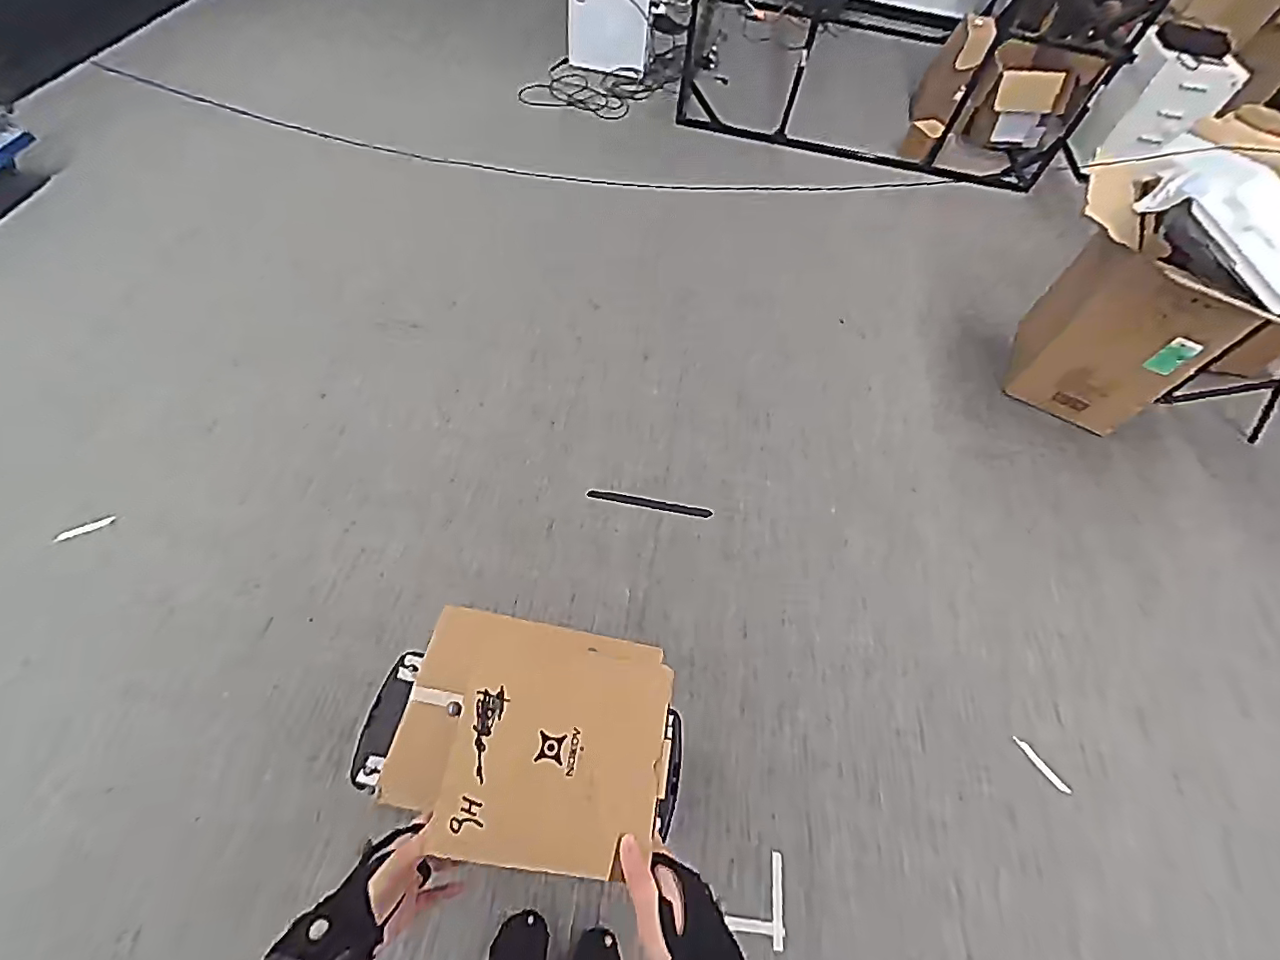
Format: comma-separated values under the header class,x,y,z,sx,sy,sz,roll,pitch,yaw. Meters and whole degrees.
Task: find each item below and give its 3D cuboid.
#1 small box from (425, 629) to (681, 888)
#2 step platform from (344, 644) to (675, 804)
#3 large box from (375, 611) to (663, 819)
class,x,y,z,sx,sy,sz,roll,pitch,yaw
small box,-0.076,0.250,0.503,0.179,0.176,0.168,13,62,-7
step platform,-0.268,0.602,1.192,0.684,0.204,0.286,16,57,4
large box,-0.187,0.471,1.002,0.408,0.320,0.320,11,56,1
